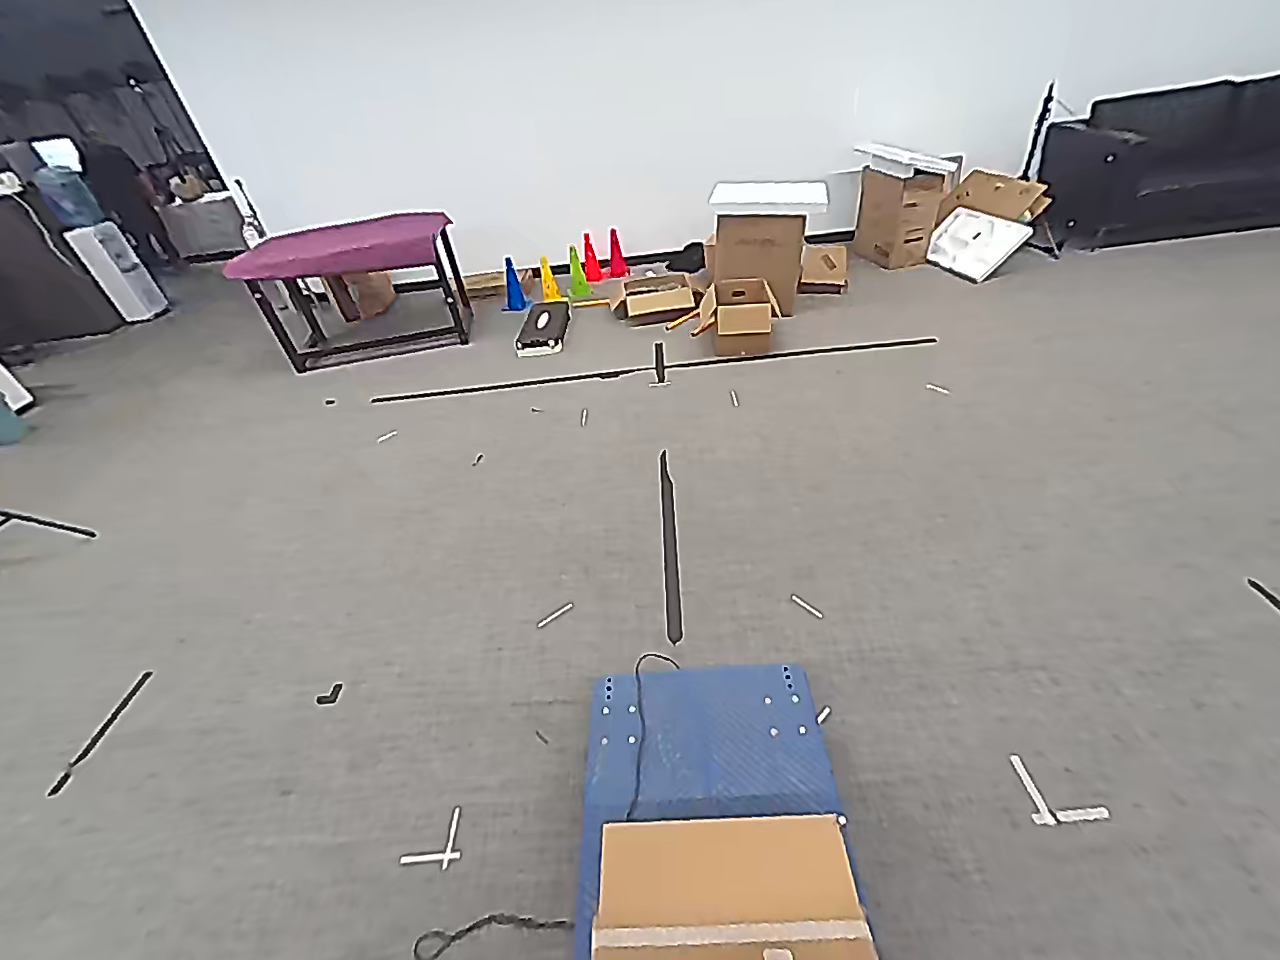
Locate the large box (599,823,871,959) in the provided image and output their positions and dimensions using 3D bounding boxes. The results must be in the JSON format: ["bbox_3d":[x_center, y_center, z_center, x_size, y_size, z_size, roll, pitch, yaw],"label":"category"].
[{"bbox_3d":[0.147,0.807,0.893,0.408,0.320,0.320,-4,39,3],"label":"large box"}]
